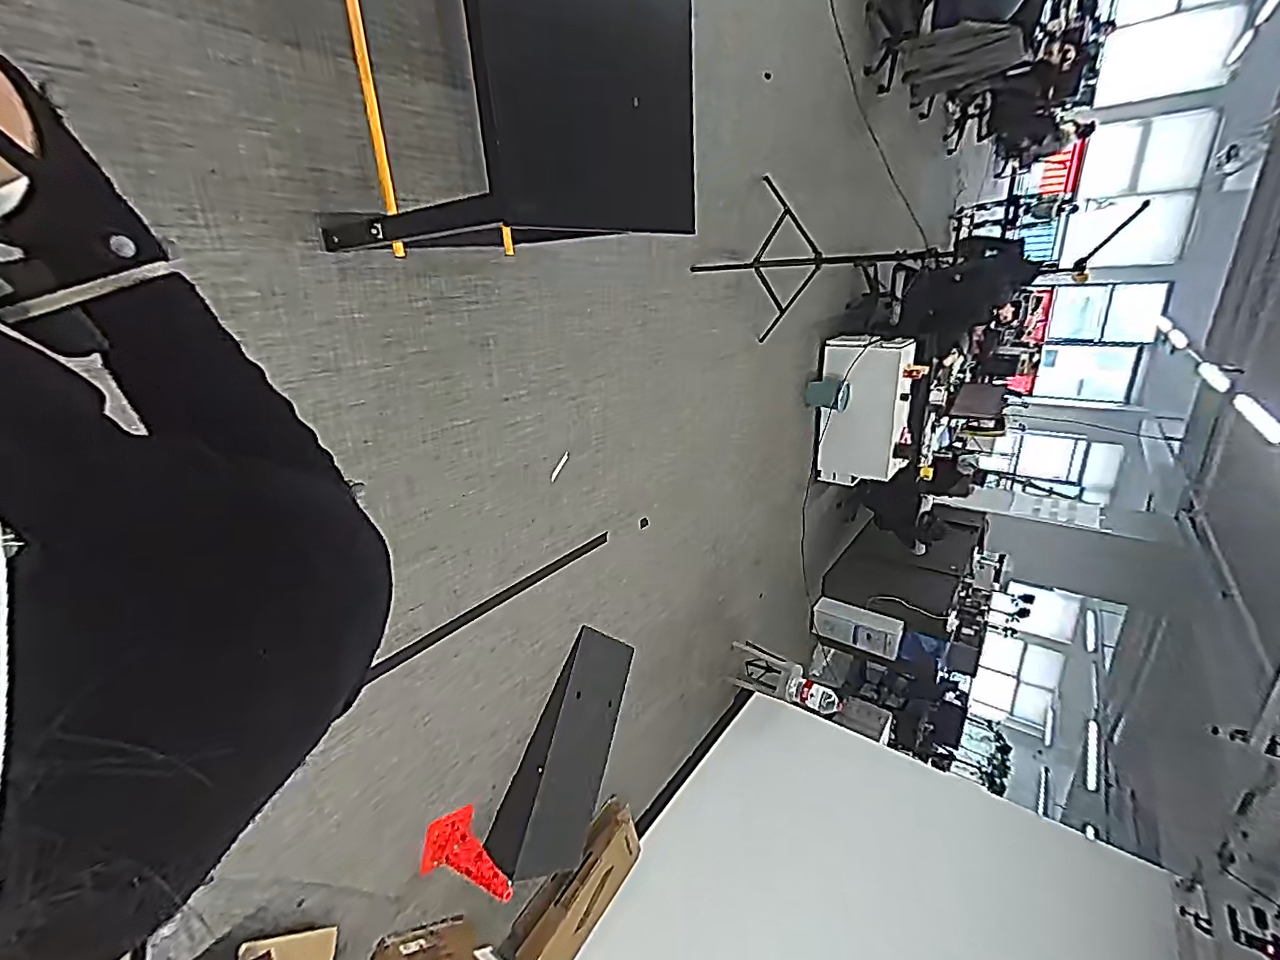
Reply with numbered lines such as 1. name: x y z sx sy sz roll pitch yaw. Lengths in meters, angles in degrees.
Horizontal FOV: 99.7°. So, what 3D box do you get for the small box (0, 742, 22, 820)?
1. small box: -1.251 0.533 0.951 0.168 0.176 0.179 -26 120 -47
